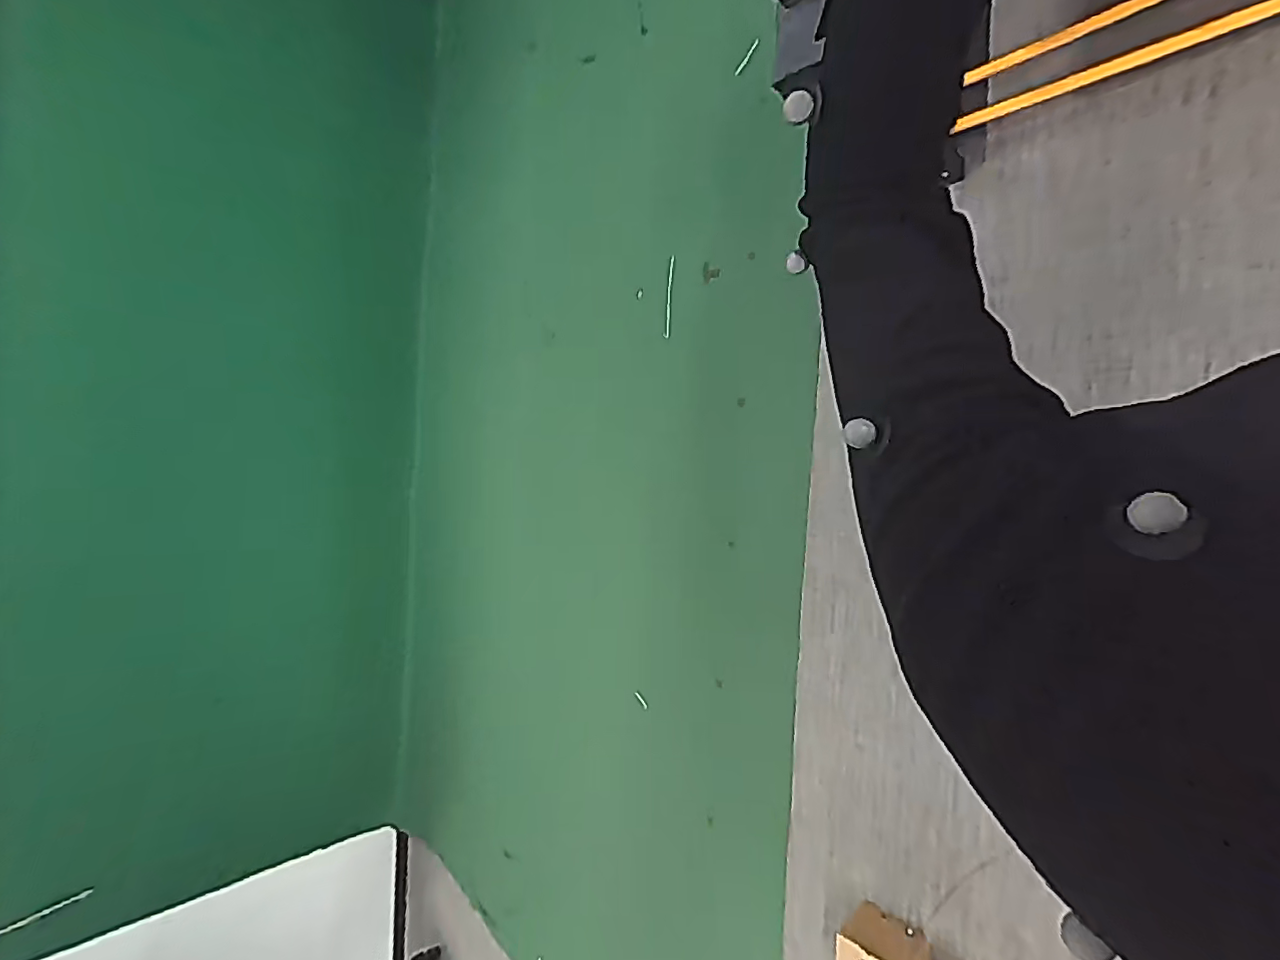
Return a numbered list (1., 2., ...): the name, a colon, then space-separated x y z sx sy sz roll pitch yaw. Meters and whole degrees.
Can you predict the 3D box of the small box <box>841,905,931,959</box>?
1. small box: 0.631 1.254 1.387 0.168 0.176 0.179 2 90 48
